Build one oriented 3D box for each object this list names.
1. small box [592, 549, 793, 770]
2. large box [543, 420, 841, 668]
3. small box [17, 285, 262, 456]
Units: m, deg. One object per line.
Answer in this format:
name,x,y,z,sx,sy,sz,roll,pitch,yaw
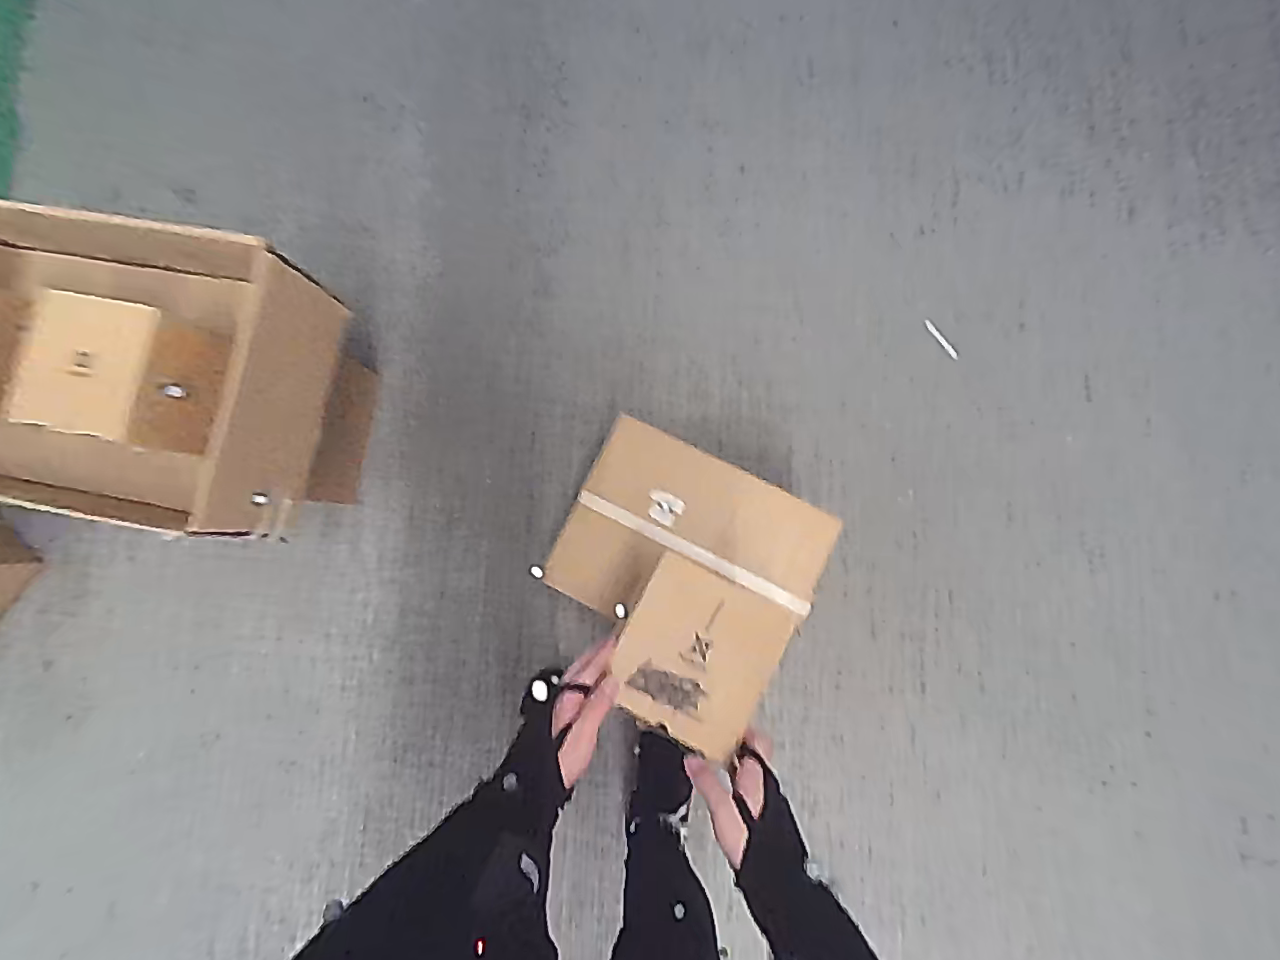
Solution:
small box,0.052,0.211,0.655,0.168,0.176,0.179,29,70,1
large box,0.096,0.132,1.023,0.408,0.320,0.320,27,86,7
small box,-0.675,-0.141,0.754,0.168,0.176,0.179,11,86,5
